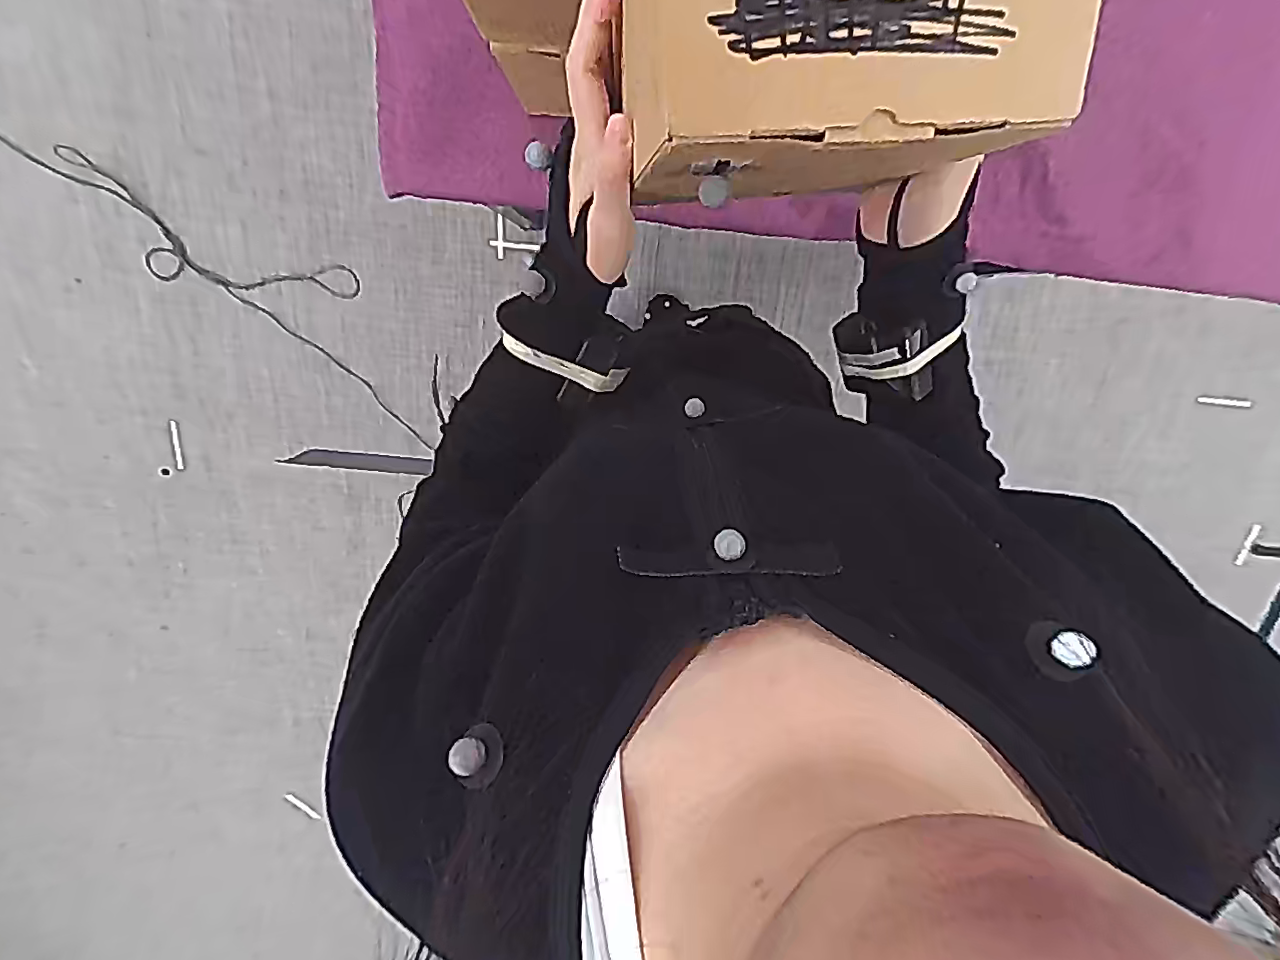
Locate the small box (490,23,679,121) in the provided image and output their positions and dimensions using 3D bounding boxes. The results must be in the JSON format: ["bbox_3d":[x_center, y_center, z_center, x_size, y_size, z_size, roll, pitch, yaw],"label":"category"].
[{"bbox_3d":[-0.047,-0.477,0.518,0.168,0.176,0.179,2,108,-2],"label":"small box"}]

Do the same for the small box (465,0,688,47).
[{"bbox_3d":[-0.044,-0.428,0.364,0.179,0.176,0.168,1,107,-1],"label":"small box"}]
